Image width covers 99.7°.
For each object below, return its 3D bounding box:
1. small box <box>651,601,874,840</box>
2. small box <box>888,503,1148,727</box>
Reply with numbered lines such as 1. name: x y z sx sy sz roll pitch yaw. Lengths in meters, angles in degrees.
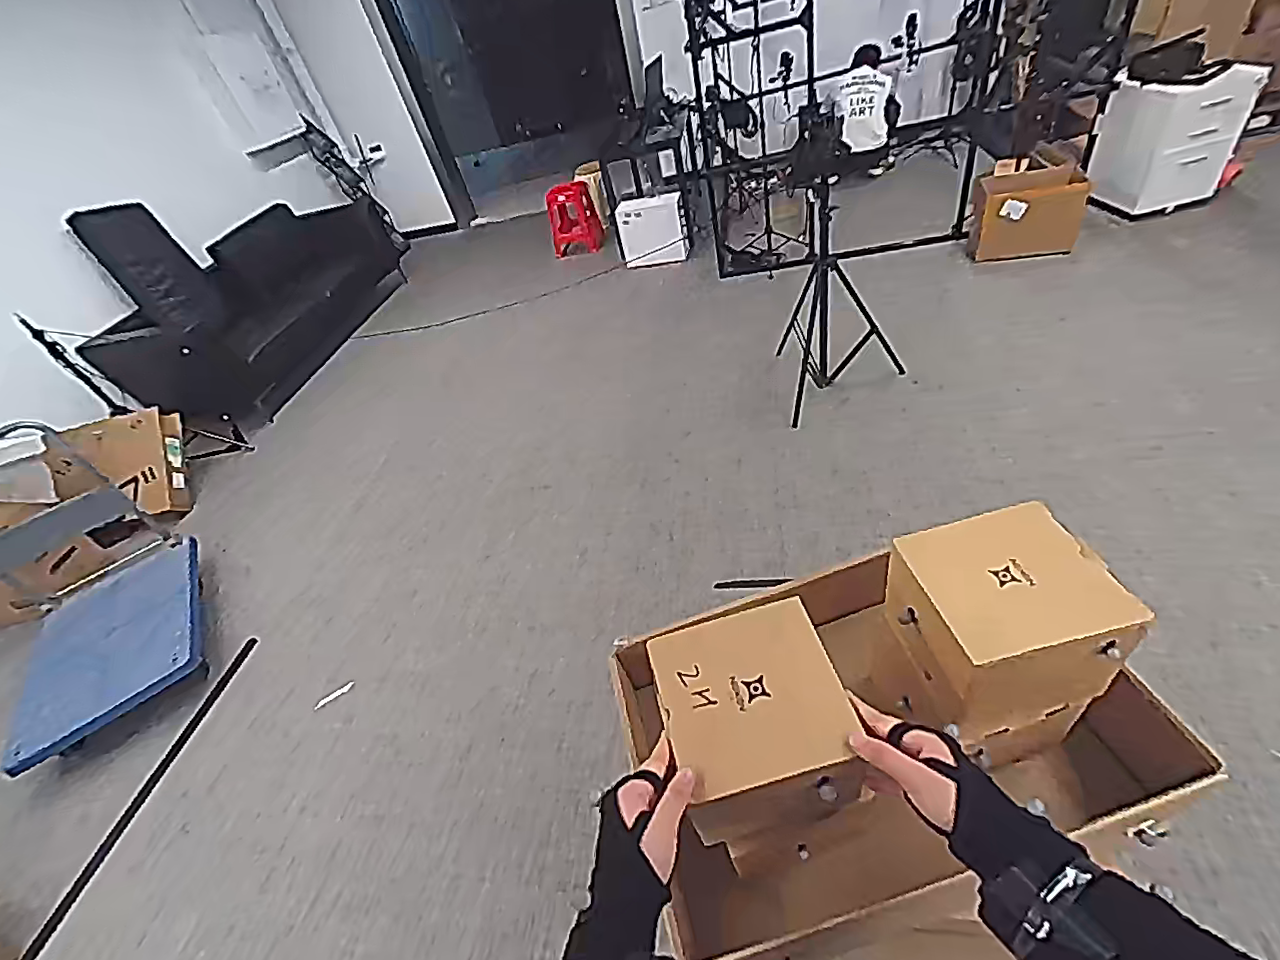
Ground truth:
1. small box: 0.124 0.262 0.586 0.179 0.176 0.168 -17 44 1
2. small box: 0.407 0.159 0.624 0.179 0.176 0.168 -16 42 2
